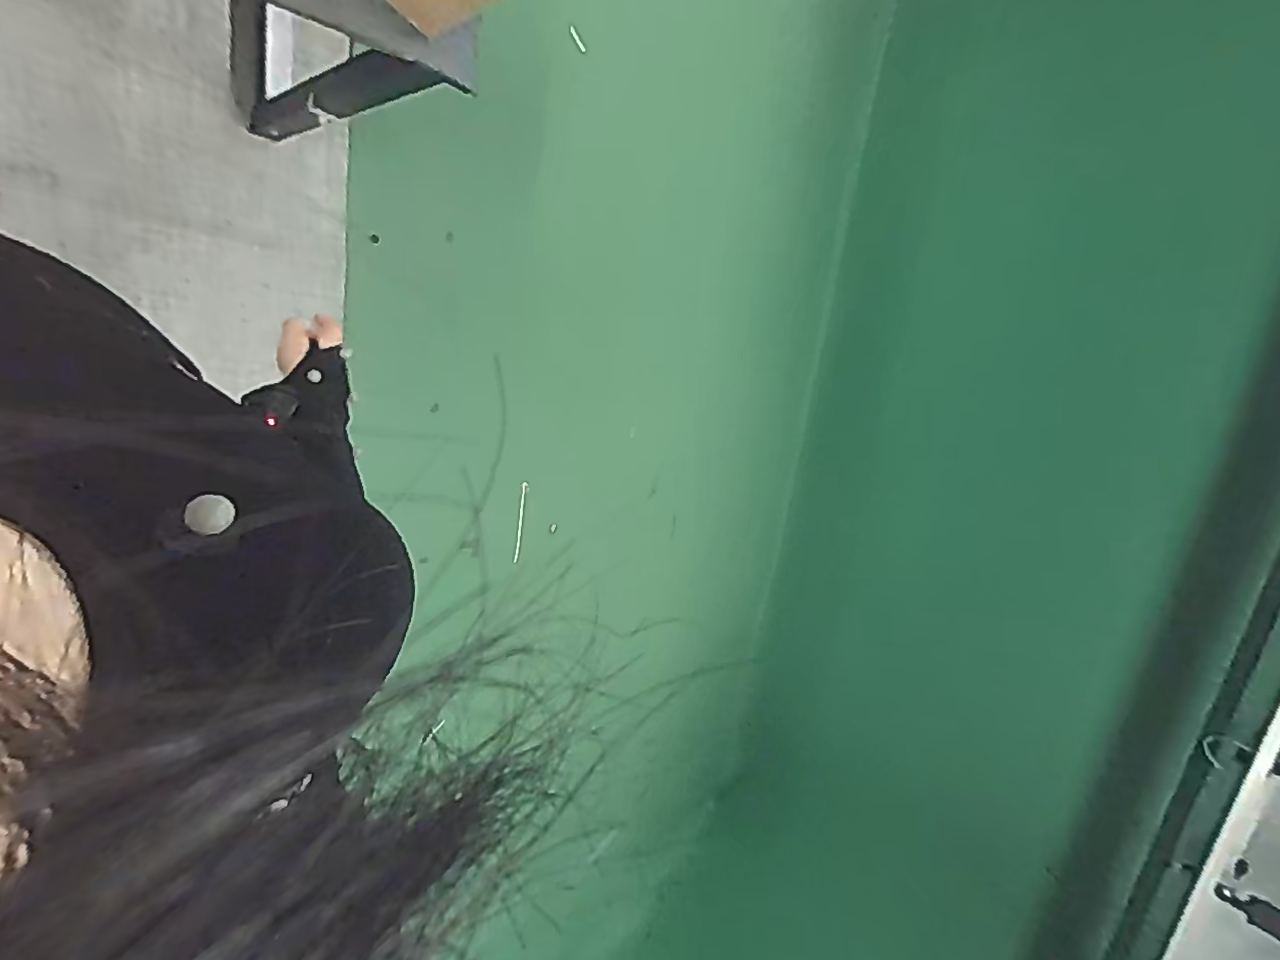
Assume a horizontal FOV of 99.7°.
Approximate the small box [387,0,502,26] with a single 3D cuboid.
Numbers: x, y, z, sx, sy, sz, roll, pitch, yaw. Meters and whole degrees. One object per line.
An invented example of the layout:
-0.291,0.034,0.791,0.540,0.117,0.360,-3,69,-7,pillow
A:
-0.241,-0.651,0.592,0.179,0.176,0.168,16,88,-52,small box
